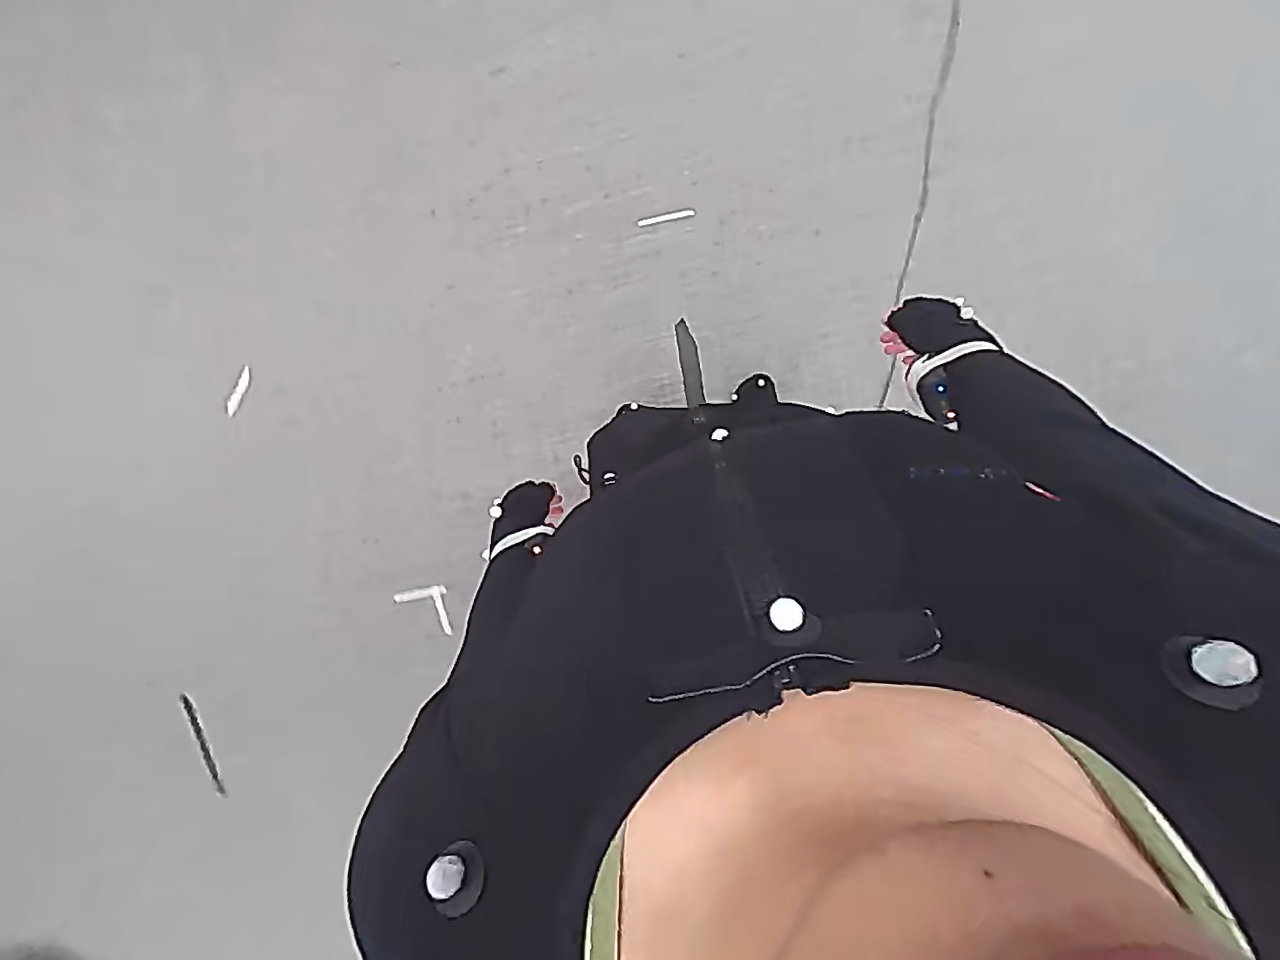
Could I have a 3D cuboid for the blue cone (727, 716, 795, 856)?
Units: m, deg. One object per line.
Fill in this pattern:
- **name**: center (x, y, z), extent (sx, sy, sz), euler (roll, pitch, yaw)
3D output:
- **blue cone**: center (0.338, 0.810, 1.429), extent (0.193, 0.380, 0.192), euler (-6, 100, 7)
